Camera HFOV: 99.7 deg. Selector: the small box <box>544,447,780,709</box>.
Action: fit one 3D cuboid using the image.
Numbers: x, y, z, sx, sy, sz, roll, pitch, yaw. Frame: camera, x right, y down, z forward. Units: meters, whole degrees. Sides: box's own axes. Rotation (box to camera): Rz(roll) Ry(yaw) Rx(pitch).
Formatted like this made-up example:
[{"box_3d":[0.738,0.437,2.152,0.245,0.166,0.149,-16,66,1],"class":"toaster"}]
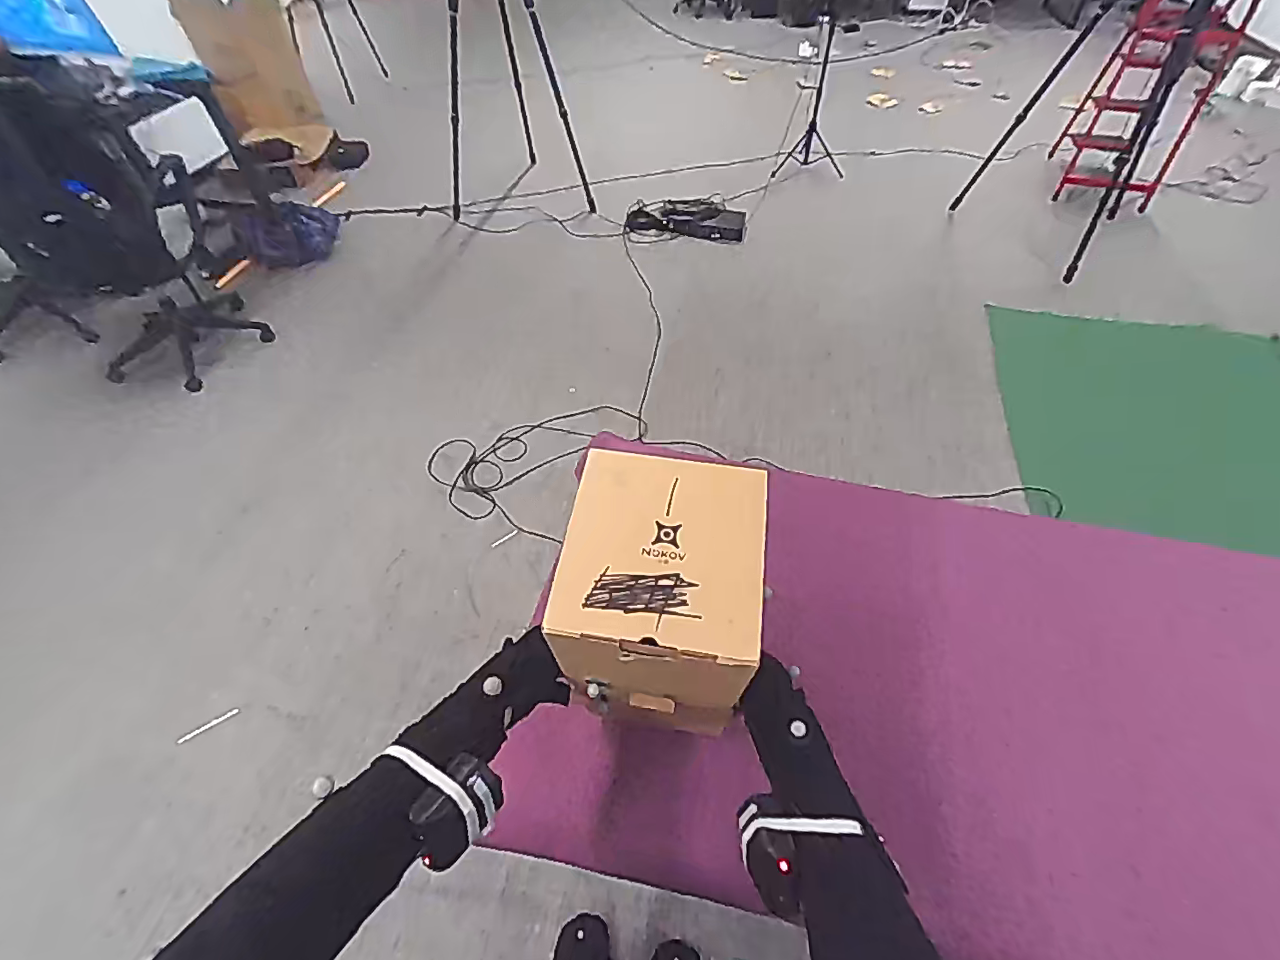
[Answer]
[{"box_3d":[0.024,0.099,0.506,0.168,0.176,0.179,11,58,6],"class":"small box"}]
